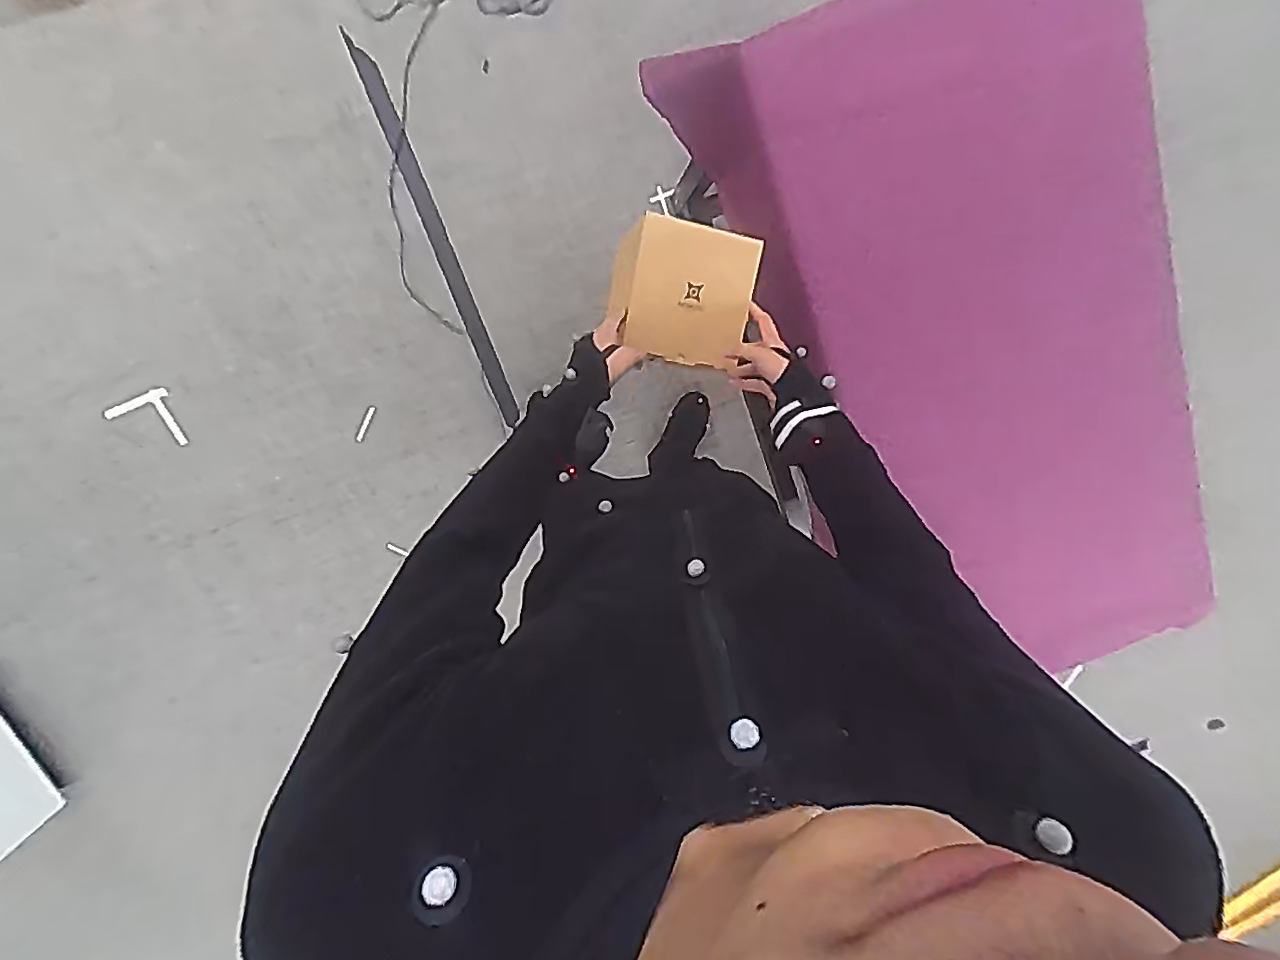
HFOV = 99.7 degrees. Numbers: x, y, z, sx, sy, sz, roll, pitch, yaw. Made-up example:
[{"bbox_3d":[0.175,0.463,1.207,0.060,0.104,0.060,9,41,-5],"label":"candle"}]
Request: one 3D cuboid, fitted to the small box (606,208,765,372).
[{"bbox_3d":[0.053,-0.261,0.780,0.168,0.176,0.179,8,102,-15],"label":"small box"}]
